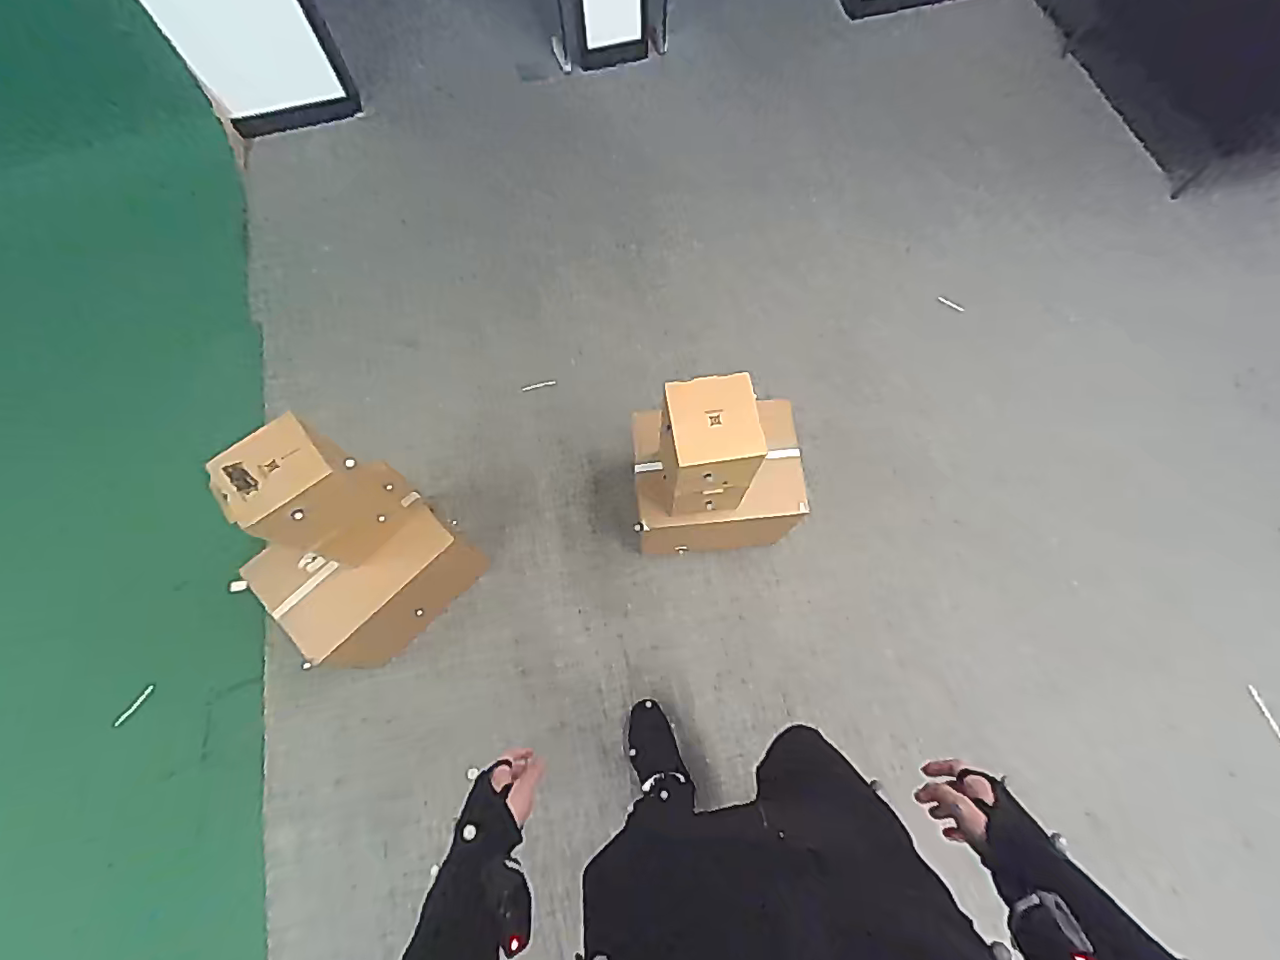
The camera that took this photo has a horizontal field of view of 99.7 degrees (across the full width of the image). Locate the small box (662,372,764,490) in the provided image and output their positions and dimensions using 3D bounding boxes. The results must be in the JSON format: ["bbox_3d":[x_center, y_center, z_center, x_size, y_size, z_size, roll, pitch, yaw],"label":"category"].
[{"bbox_3d":[0.137,-0.088,1.072,0.168,0.176,0.179,-8,70,-2],"label":"small box"}]

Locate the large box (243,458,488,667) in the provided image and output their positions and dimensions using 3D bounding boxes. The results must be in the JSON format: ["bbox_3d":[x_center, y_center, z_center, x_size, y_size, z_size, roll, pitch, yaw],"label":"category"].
[{"bbox_3d":[-0.677,0.223,1.402,0.320,0.320,0.408,42,77,15],"label":"large box"}]

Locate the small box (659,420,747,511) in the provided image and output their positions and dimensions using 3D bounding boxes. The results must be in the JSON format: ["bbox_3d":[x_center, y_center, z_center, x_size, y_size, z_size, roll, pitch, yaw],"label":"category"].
[{"bbox_3d":[0.135,-0.033,1.226,0.168,0.176,0.179,-7,71,-3],"label":"small box"}]

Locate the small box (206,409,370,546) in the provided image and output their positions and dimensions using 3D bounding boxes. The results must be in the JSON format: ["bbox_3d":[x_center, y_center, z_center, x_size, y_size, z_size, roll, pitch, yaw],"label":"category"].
[{"bbox_3d":[-0.668,0.004,1.046,0.179,0.176,0.168,-38,74,-12],"label":"small box"}]
